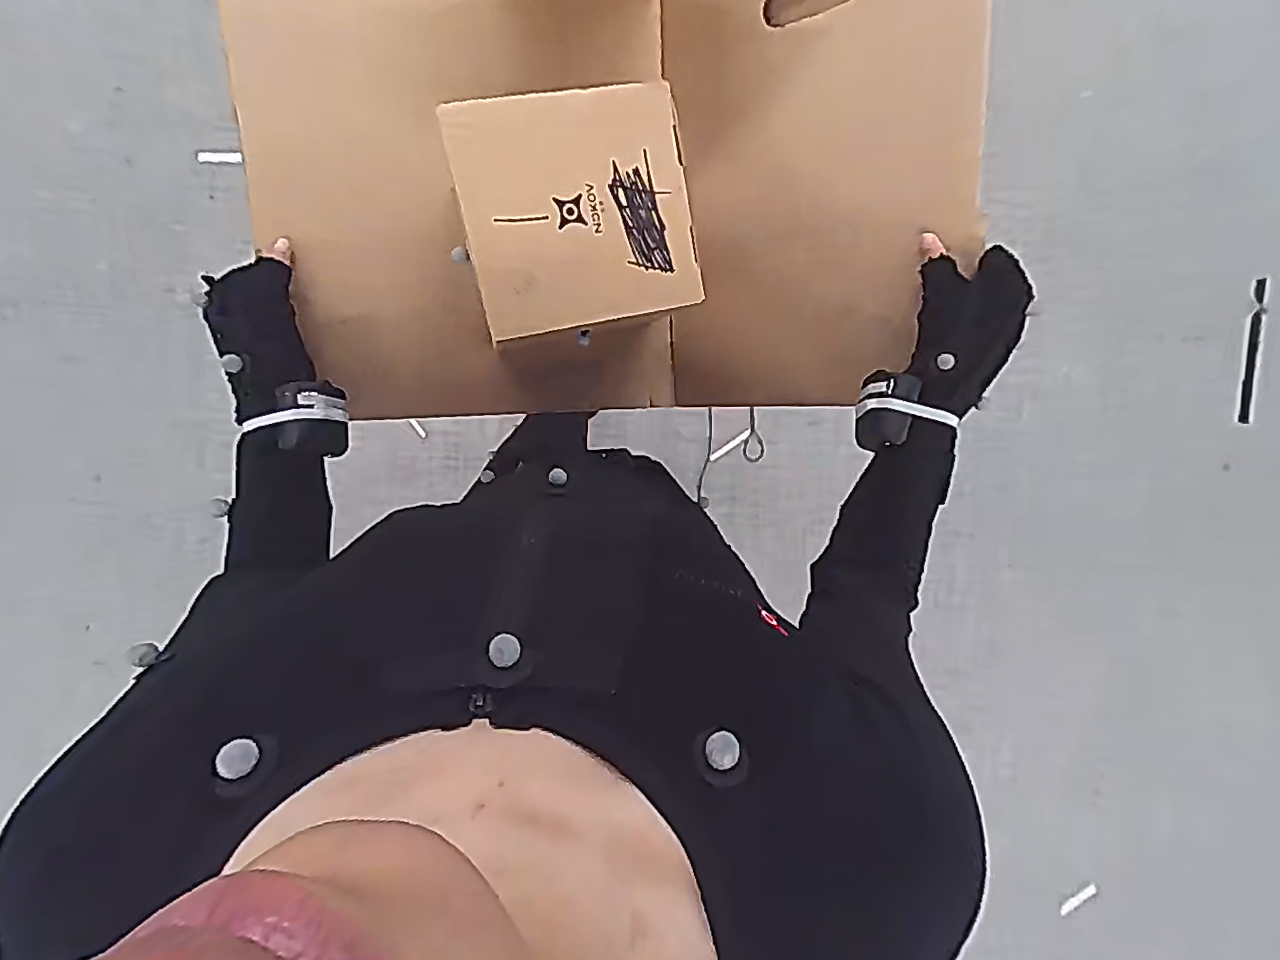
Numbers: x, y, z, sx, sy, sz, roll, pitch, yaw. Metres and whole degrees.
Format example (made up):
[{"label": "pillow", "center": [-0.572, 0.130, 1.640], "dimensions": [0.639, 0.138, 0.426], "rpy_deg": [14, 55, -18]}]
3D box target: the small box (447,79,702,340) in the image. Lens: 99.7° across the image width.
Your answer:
[{"label": "small box", "center": [-0.063, -0.230, 0.499], "dimensions": [0.179, 0.176, 0.168], "rpy_deg": [-14, 103, -11]}]
